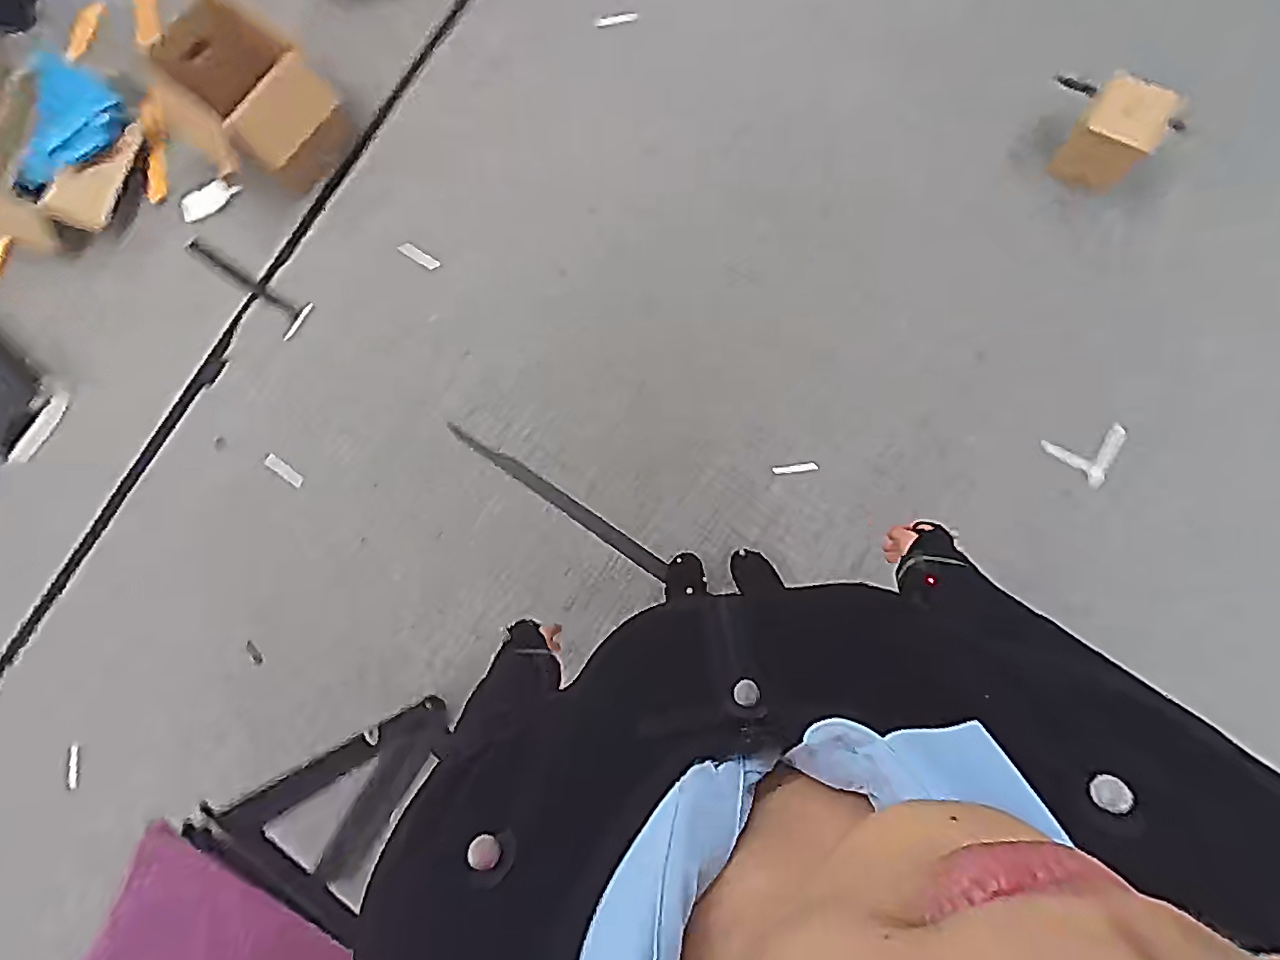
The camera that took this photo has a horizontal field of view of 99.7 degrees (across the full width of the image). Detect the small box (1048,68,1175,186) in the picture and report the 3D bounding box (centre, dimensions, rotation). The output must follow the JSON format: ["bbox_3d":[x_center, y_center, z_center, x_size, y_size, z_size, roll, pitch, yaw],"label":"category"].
[{"bbox_3d":[1.246,-0.935,1.448,0.168,0.176,0.179,30,86,10],"label":"small box"}]
